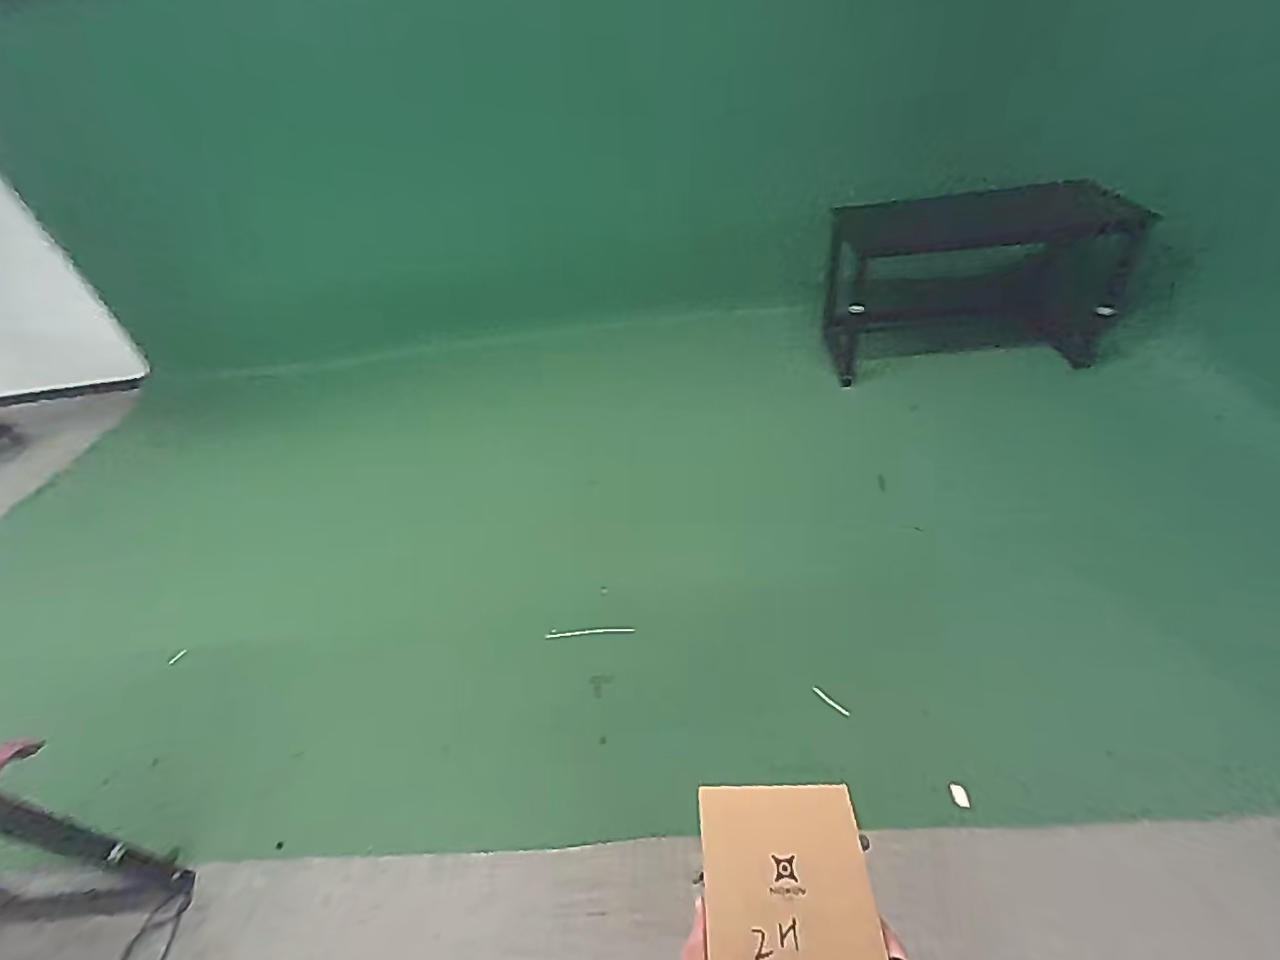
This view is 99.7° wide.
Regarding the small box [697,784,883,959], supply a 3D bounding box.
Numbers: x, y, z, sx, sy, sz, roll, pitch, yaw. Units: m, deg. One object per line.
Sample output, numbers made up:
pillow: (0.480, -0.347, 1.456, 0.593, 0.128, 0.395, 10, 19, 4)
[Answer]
small box: (0.150, 0.460, 0.595, 0.168, 0.176, 0.179, -4, 42, 5)
